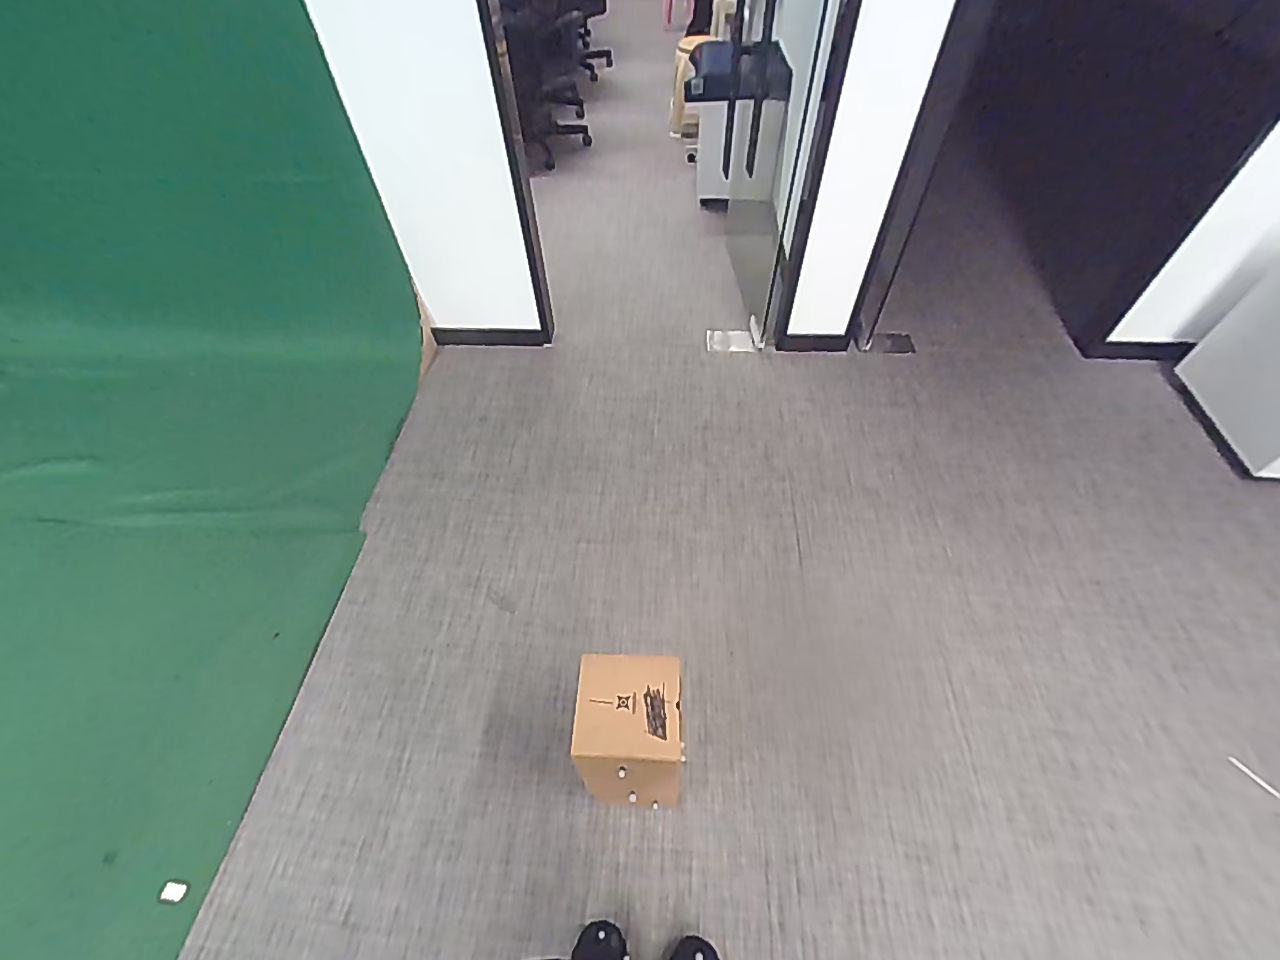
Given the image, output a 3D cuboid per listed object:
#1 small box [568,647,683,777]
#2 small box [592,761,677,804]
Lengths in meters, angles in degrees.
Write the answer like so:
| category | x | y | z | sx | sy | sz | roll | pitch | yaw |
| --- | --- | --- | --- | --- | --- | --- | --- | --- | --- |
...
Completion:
| category | x | y | z | sx | sy | sz | roll | pitch | yaw |
| --- | --- | --- | --- | --- | --- | --- | --- | --- | --- |
| small box | -0.019 | 0.415 | 0.960 | 0.179 | 0.176 | 0.168 | 4 | 50 | 5 |
| small box | -0.006 | 0.621 | 1.219 | 0.179 | 0.176 | 0.168 | 0 | 51 | 4 |
